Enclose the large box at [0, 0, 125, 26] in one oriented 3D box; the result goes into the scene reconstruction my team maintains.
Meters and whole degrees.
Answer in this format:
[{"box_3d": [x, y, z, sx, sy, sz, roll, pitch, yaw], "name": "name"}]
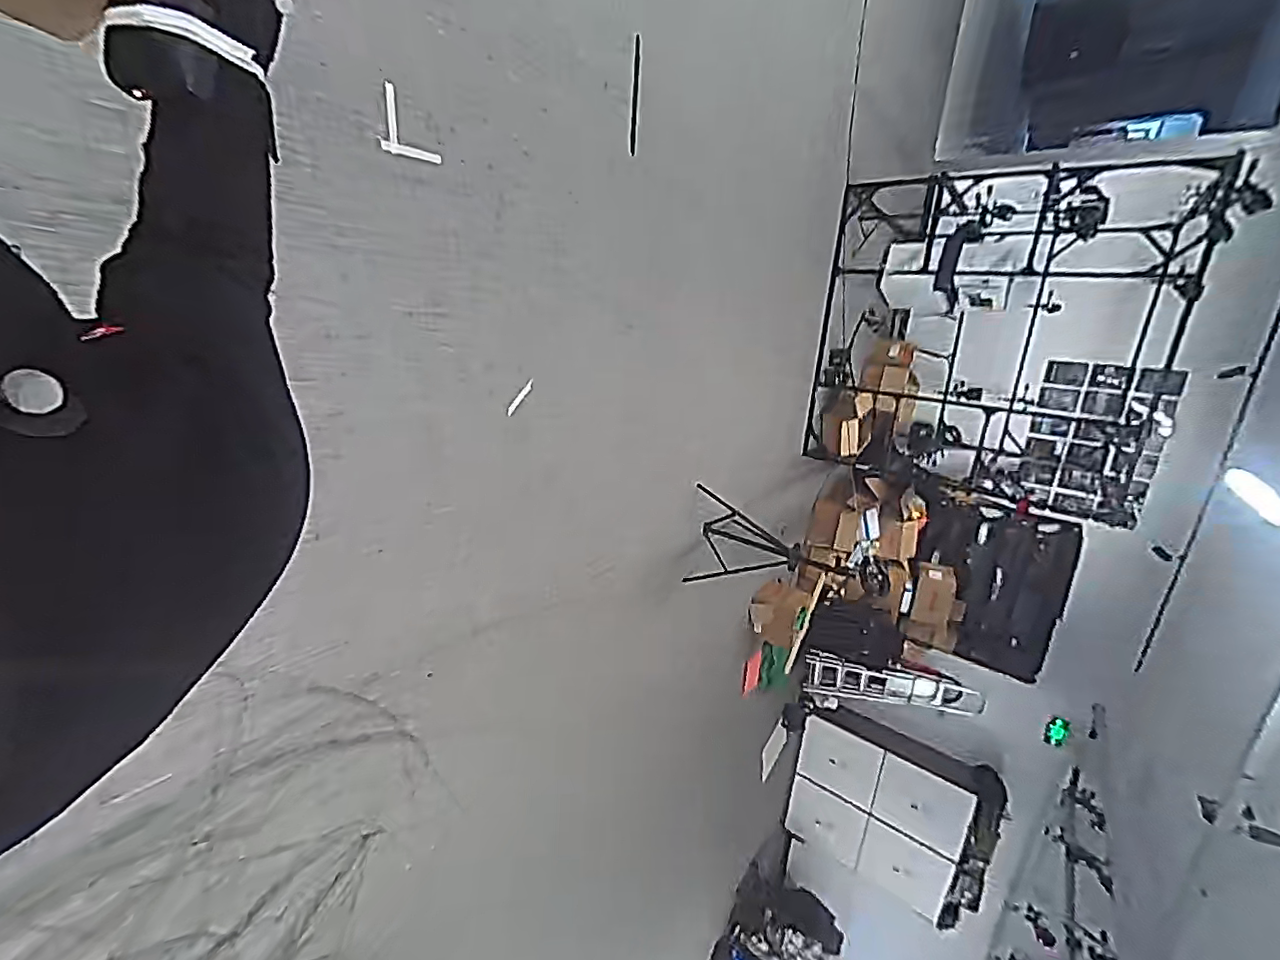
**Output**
[{"box_3d": [-0.514, -0.517, 0.249, 0.408, 0.320, 0.320, -3, 113, -57], "name": "large box"}]
